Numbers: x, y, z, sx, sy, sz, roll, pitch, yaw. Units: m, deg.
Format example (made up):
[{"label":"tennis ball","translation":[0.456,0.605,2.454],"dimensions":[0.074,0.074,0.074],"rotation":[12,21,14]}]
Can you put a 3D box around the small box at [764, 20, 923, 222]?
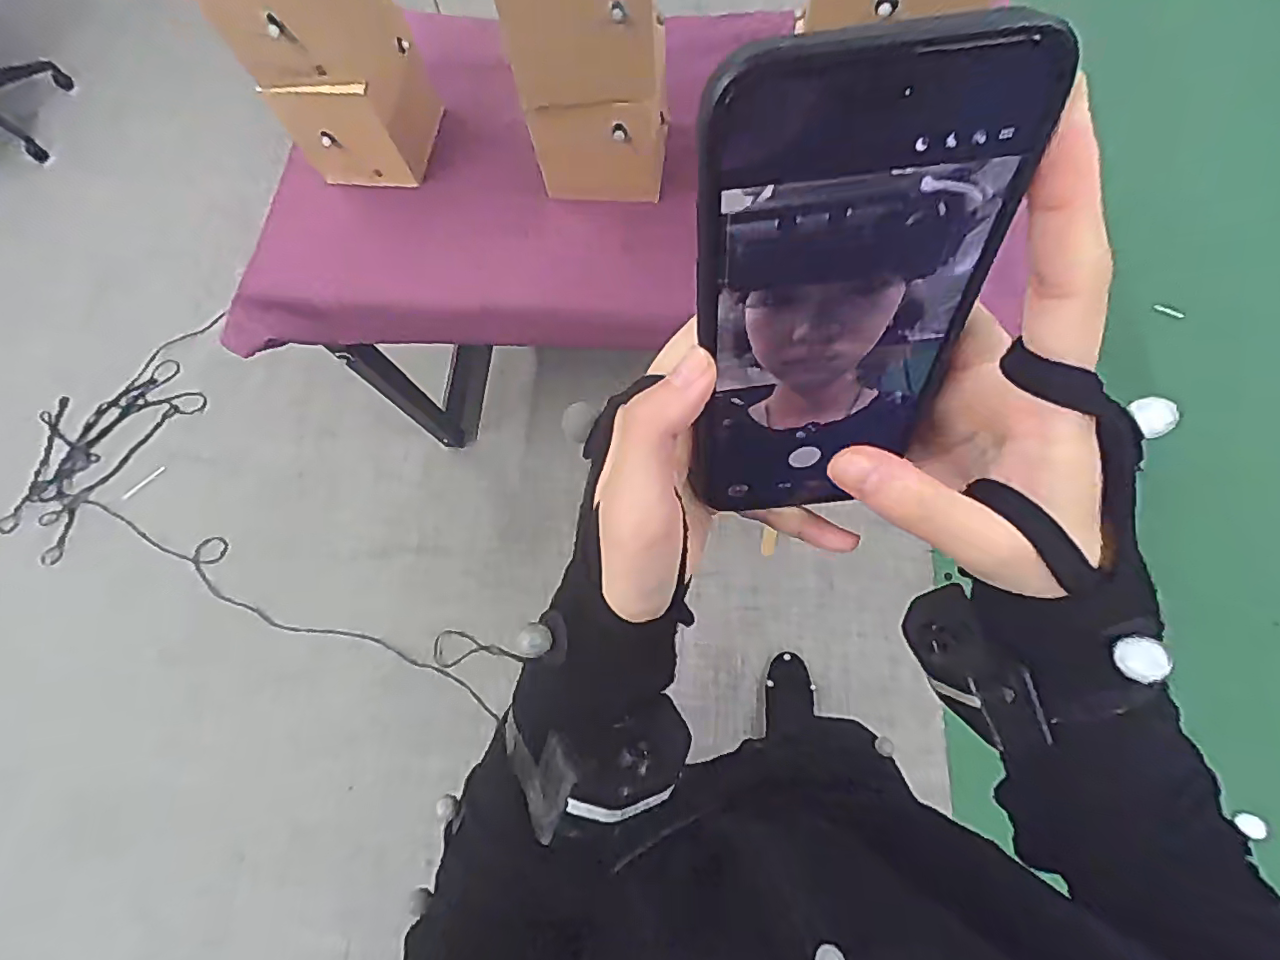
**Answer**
[{"label":"small box","translation":[0.283,-0.492,0.758],"dimensions":[0.179,0.176,0.168],"rotation":[12,74,9]}]

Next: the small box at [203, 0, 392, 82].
[{"label":"small box","translation":[-0.448,-0.653,0.701],"dimensions":[0.168,0.176,0.179],"rotation":[1,74,5]}]

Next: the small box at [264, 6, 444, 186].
[{"label":"small box","translation":[-0.435,-0.597,0.855],"dimensions":[0.168,0.176,0.179],"rotation":[6,73,7]}]

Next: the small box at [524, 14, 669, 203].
[{"label":"small box","translation":[-0.052,-0.539,0.801],"dimensions":[0.179,0.176,0.168],"rotation":[6,73,7]}]
